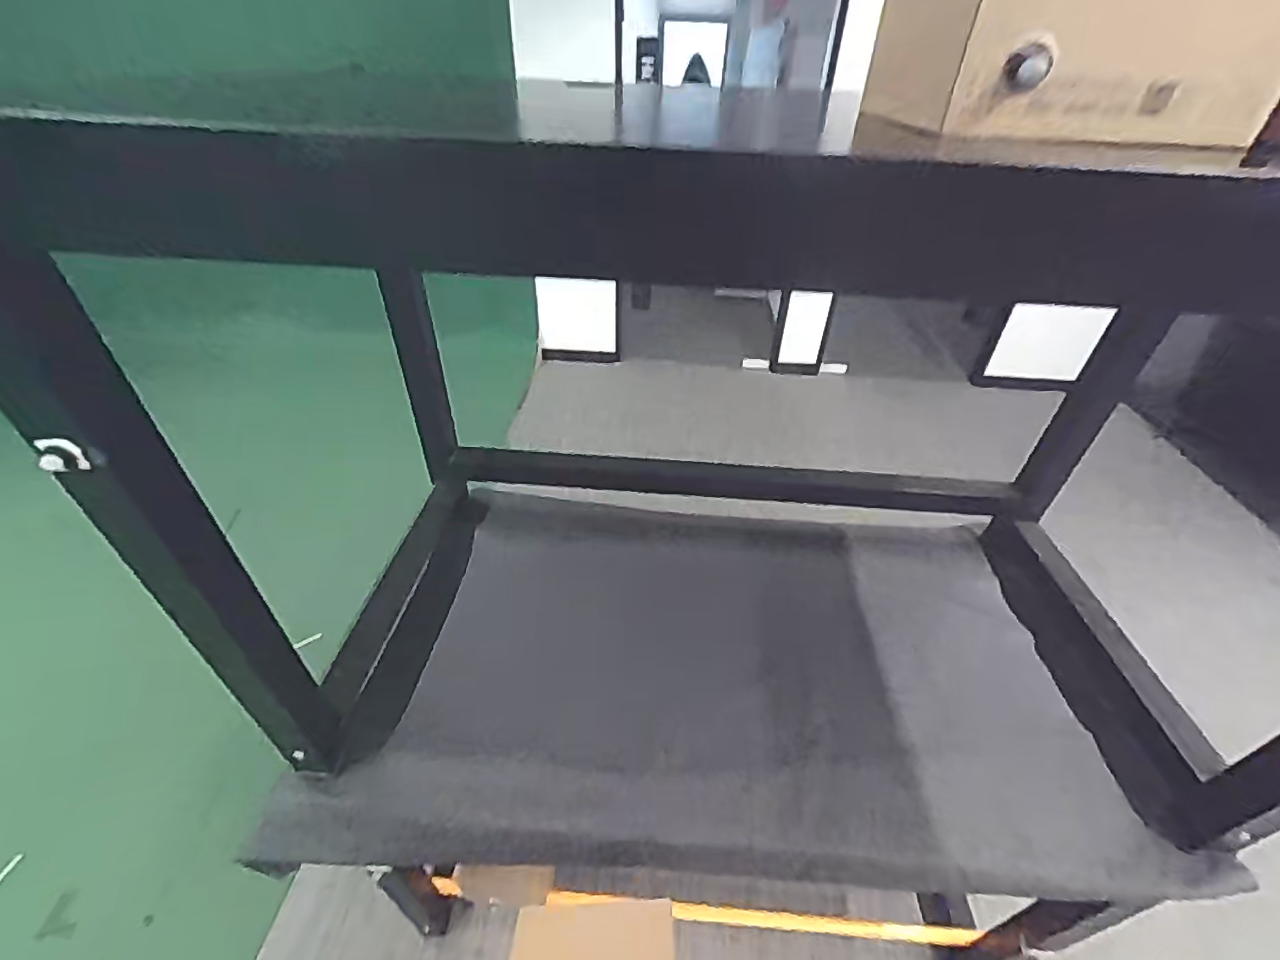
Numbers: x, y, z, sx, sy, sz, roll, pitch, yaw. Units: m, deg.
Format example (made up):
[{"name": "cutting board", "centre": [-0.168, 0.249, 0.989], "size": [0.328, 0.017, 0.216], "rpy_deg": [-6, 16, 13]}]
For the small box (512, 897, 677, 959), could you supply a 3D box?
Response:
[{"name": "small box", "centre": [-0.042, 0.557, 0.525], "size": [0.168, 0.176, 0.179], "rpy_deg": [-4, 16, 0]}]
